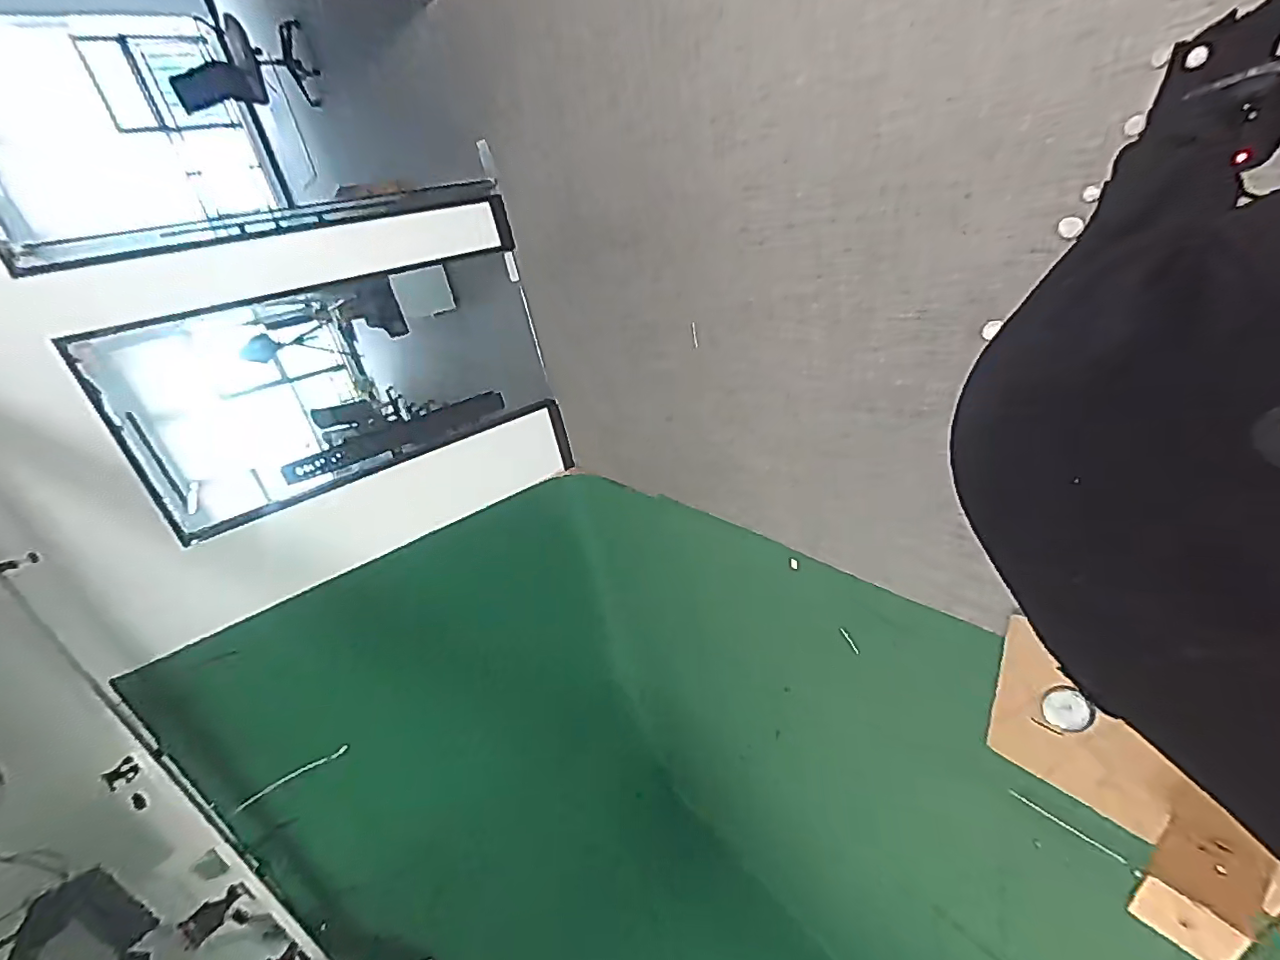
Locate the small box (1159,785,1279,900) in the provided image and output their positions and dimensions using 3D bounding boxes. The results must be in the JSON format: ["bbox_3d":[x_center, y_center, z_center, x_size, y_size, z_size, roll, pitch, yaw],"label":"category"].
[{"bbox_3d":[1.386,0.887,1.304,0.168,0.176,0.179,25,134,47],"label":"small box"}]

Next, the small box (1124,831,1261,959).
[{"bbox_3d":[1.258,0.960,1.233,0.168,0.176,0.179,27,134,47],"label":"small box"}]
